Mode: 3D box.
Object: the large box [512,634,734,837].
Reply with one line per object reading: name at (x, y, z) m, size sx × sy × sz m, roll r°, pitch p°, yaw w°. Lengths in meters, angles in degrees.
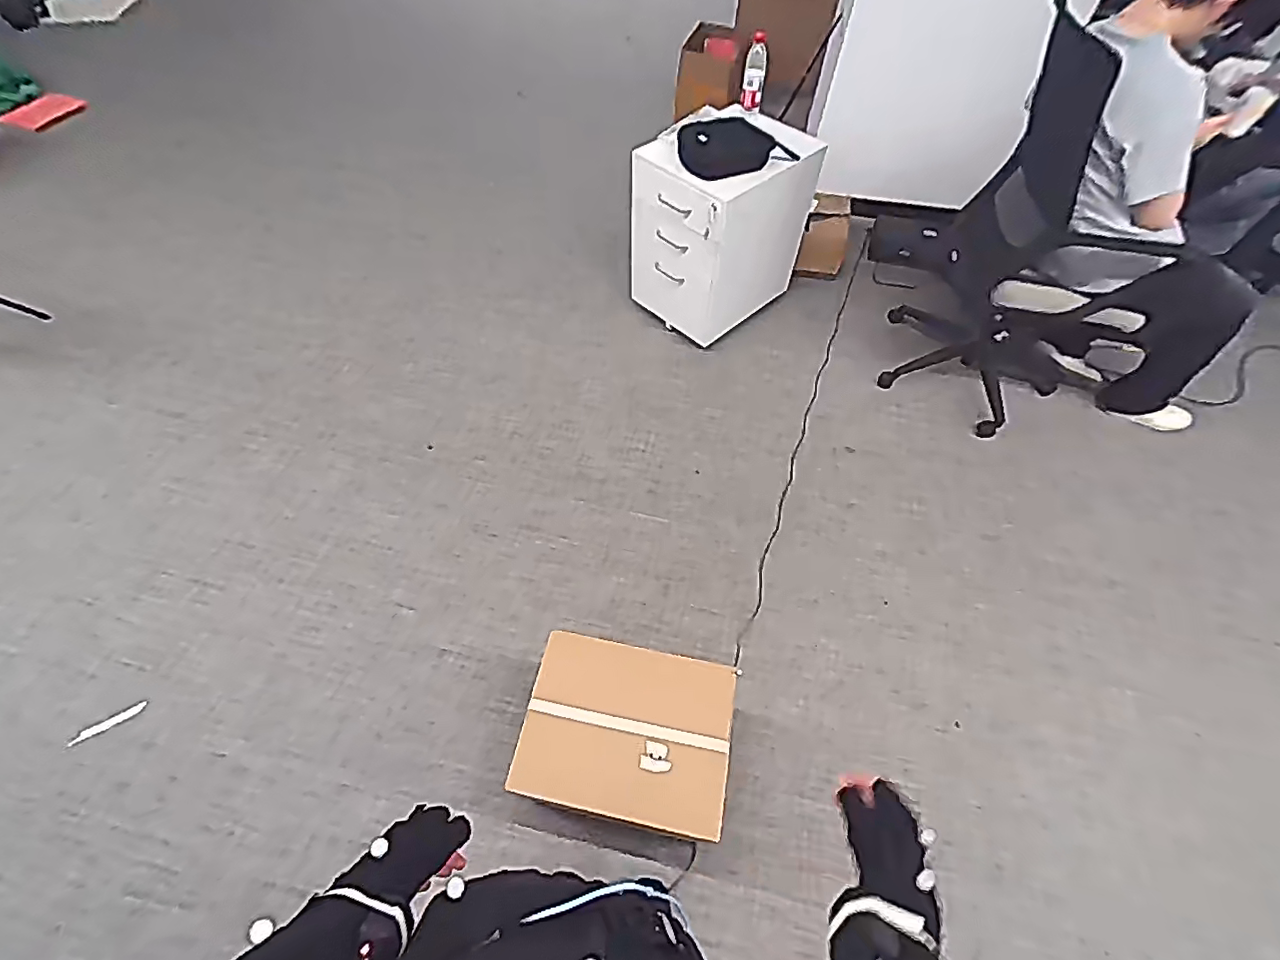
large box at (-0.027, 0.574, 1.205) m, size 0.408 × 0.320 × 0.320 m, roll 10°, pitch 58°, yaw 5°
